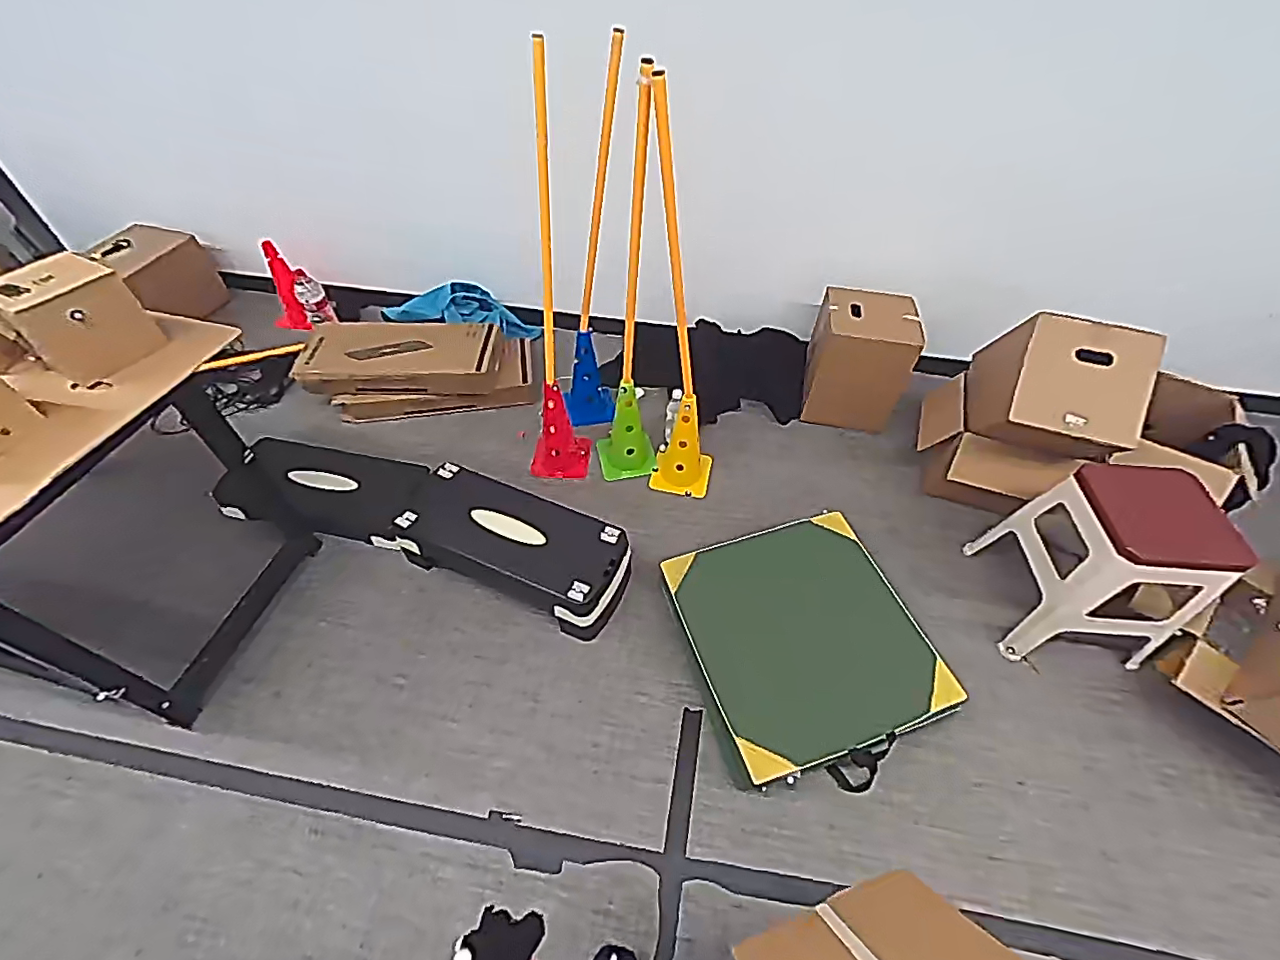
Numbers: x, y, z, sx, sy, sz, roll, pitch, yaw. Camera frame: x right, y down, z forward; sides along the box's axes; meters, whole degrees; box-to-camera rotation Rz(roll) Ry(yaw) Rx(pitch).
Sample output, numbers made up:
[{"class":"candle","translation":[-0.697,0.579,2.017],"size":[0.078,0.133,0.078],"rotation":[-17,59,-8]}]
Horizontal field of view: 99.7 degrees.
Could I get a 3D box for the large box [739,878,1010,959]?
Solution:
[{"class":"large box","translation":[0.367,0.789,0.638],"size":[0.320,0.408,0.320],"rotation":[-14,84,-13]}]
